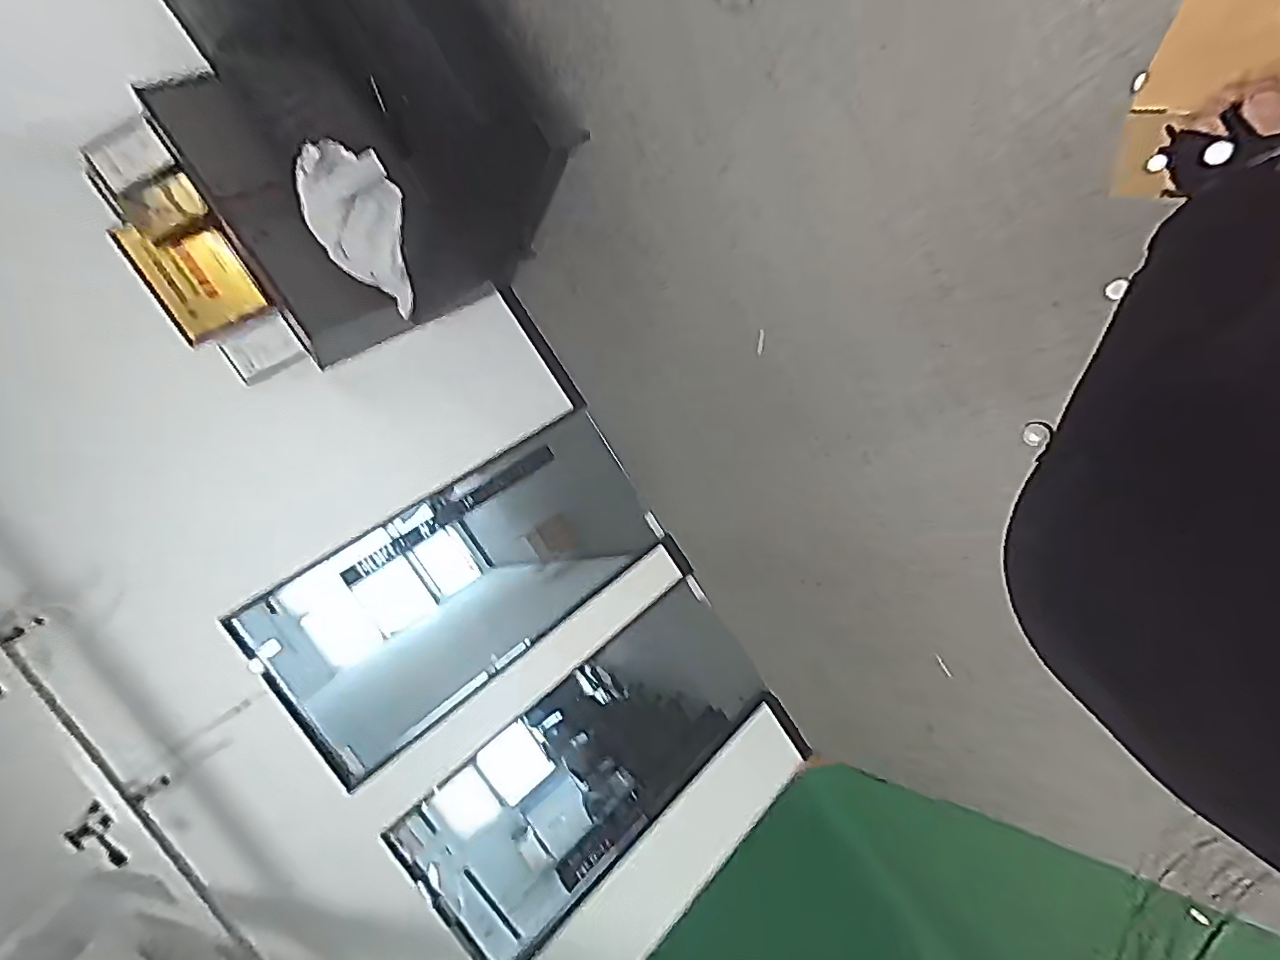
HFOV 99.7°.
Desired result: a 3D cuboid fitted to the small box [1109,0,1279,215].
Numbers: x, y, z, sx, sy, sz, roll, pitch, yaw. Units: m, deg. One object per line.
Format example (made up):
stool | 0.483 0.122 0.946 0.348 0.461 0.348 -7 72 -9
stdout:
small box | 0.601 -0.385 0.519 0.168 0.179 0.176 28 102 34
